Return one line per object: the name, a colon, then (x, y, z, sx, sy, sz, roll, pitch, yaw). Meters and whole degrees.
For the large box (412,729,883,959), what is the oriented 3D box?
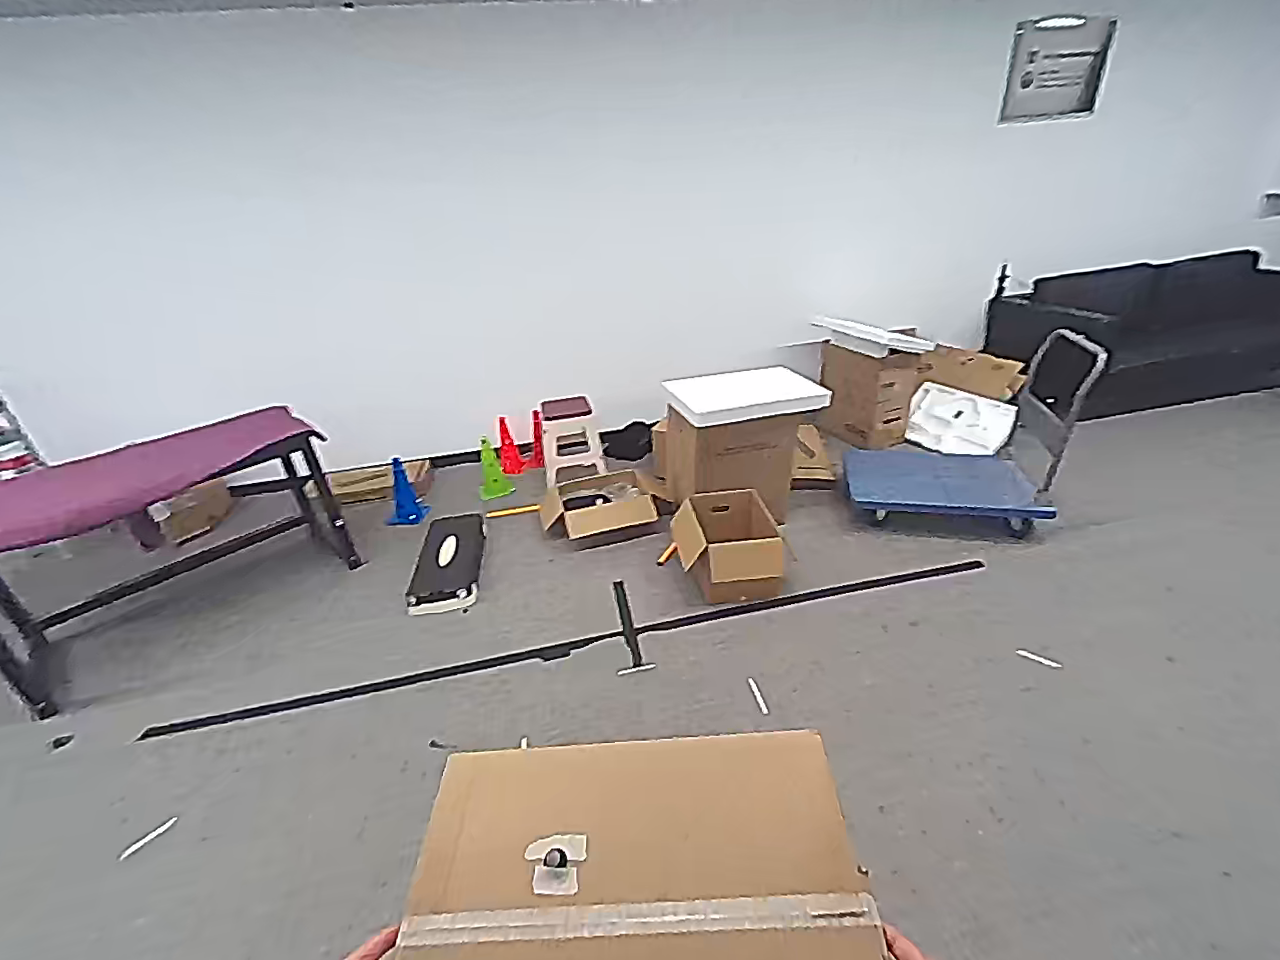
large box: (0.020, 0.501, 0.561, 0.408, 0.320, 0.320, -7, 35, 5)
